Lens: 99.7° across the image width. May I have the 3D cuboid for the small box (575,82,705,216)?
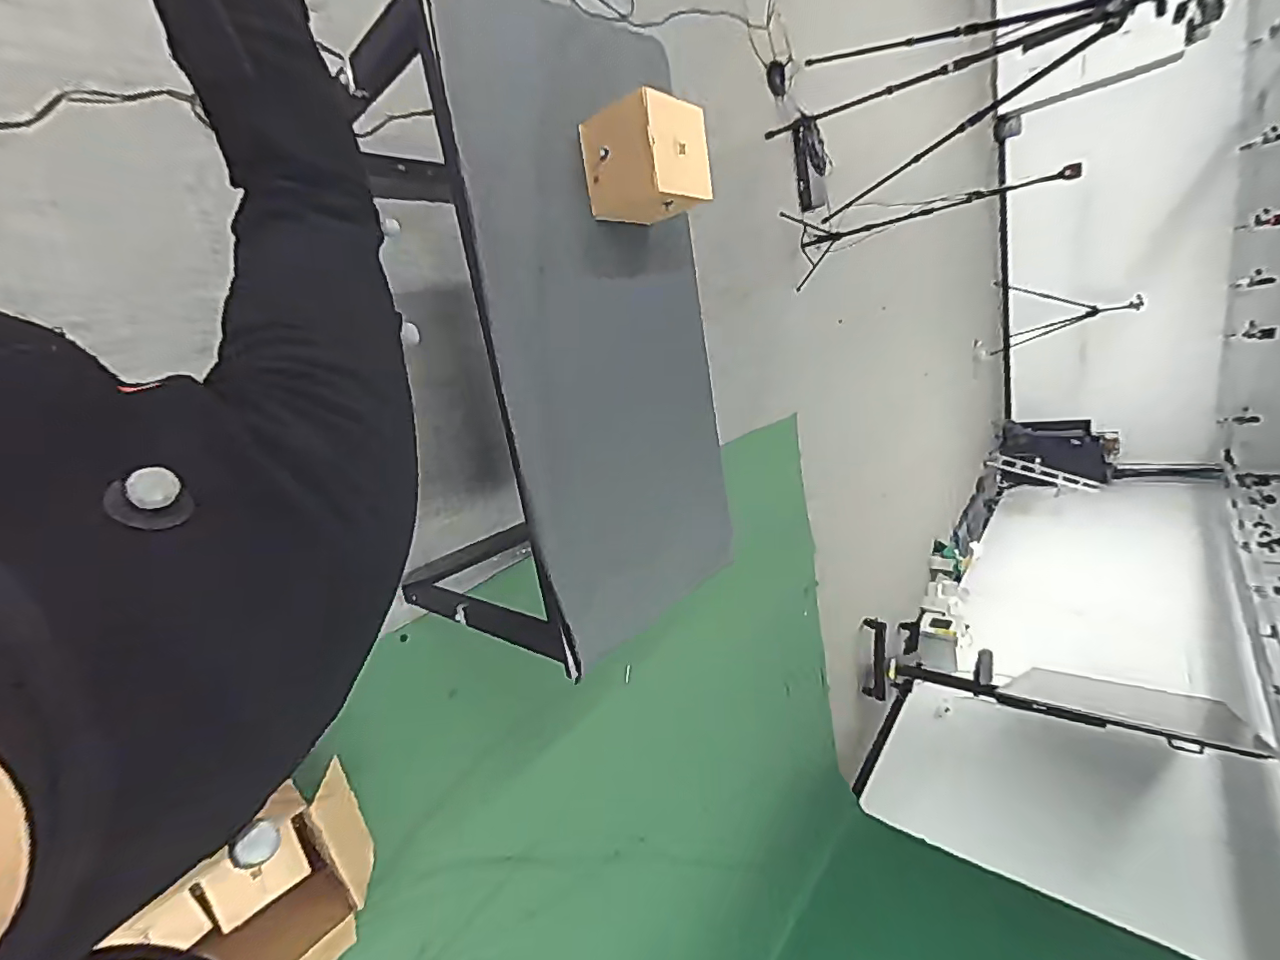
[{"bbox_3d":[0.002,-0.618,1.038,0.179,0.176,0.168,-23,110,-45],"label":"small box"}]
